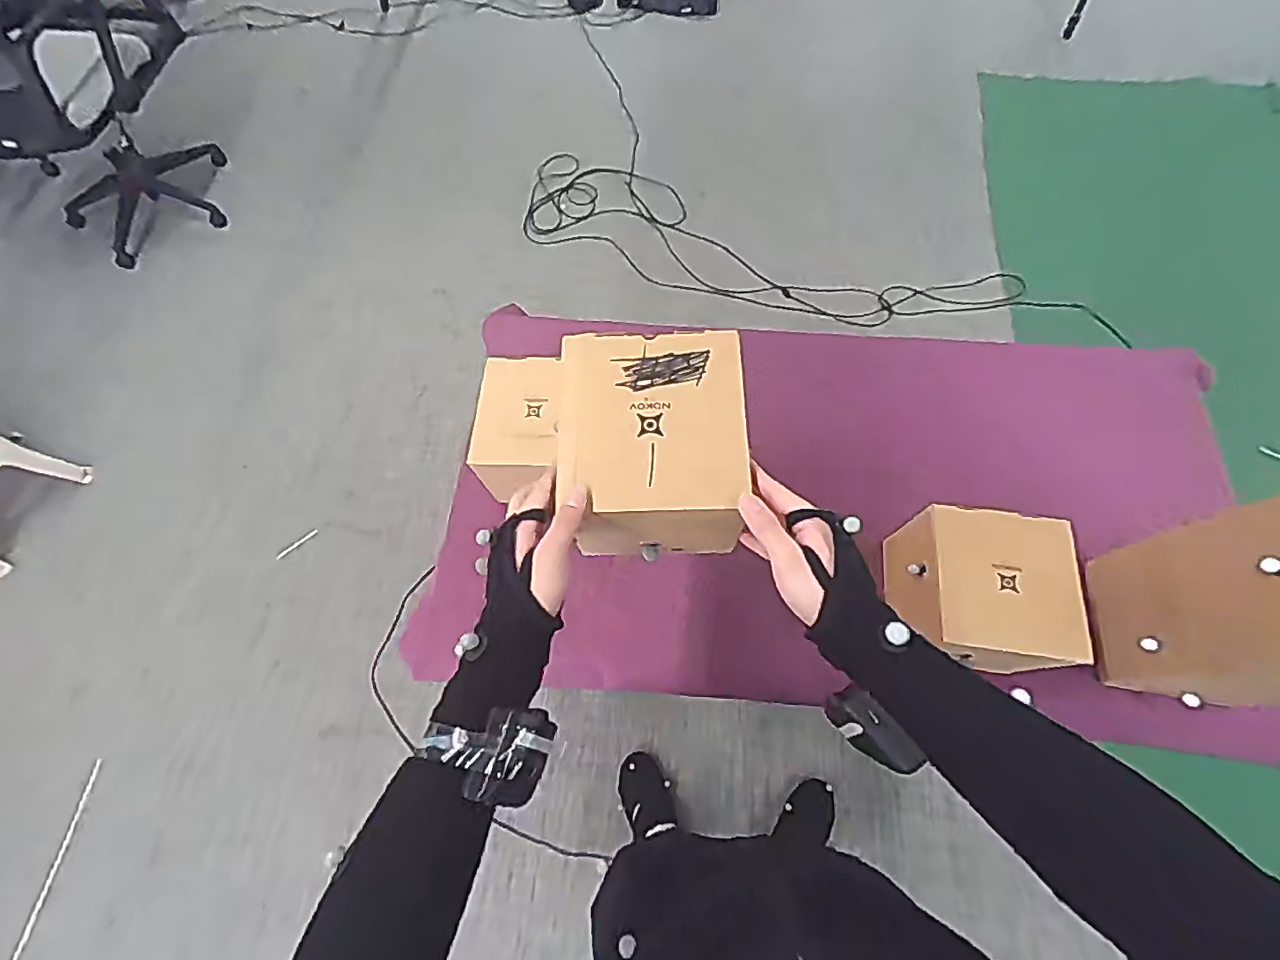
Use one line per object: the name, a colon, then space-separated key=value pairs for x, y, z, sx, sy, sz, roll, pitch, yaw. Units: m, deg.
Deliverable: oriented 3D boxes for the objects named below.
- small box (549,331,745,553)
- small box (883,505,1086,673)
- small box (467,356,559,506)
small box: x=0.008 y=-0.029 z=0.549 sx=0.168 sy=0.176 sz=0.179 roll=-1 pitch=71 yaw=3
small box: x=0.437 y=0.152 z=0.719 sx=0.168 sy=0.176 sz=0.179 roll=7 pitch=66 yaw=6
small box: x=-0.147 y=-0.069 z=0.836 sx=0.168 sy=0.176 sz=0.179 roll=2 pitch=68 yaw=4
